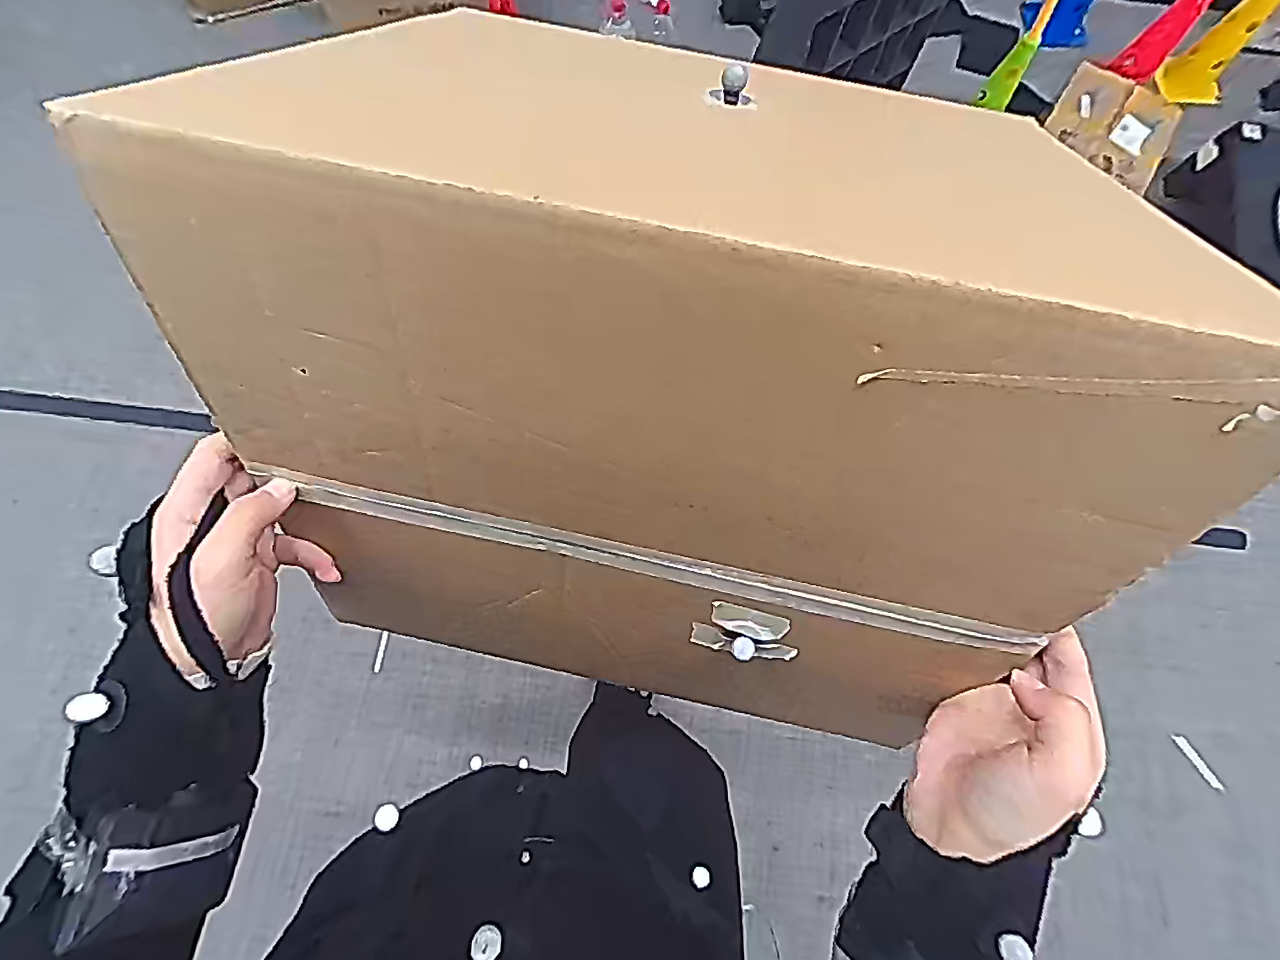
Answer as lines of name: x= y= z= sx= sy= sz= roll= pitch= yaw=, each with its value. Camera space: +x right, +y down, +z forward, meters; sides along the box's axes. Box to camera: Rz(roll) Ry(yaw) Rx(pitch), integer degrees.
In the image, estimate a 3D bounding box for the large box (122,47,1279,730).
large box: x=0.023 y=-0.071 z=0.383 sx=0.408 sy=0.320 sz=0.320 roll=12 pitch=47 yaw=2
